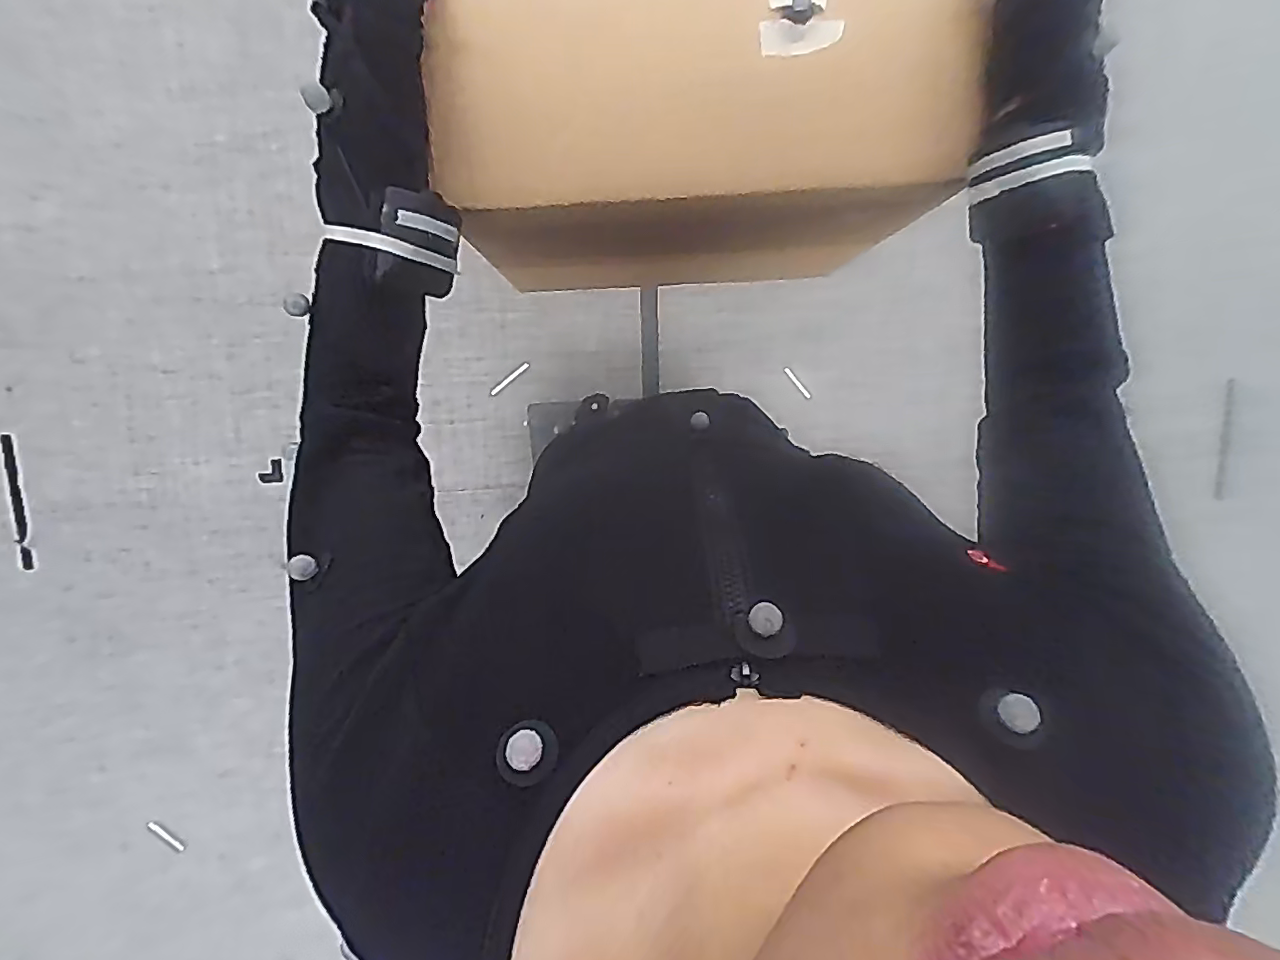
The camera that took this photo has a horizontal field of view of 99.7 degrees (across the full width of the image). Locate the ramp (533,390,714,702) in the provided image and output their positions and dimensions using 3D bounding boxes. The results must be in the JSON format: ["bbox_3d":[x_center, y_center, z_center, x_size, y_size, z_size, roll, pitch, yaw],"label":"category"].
[{"bbox_3d":[-0.022,0.238,1.609,0.509,0.206,0.991,-5,99,-3],"label":"ramp"}]

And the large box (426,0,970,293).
[{"bbox_3d":[0.037,-0.389,0.537,0.408,0.320,0.320,-4,98,-1],"label":"large box"}]
